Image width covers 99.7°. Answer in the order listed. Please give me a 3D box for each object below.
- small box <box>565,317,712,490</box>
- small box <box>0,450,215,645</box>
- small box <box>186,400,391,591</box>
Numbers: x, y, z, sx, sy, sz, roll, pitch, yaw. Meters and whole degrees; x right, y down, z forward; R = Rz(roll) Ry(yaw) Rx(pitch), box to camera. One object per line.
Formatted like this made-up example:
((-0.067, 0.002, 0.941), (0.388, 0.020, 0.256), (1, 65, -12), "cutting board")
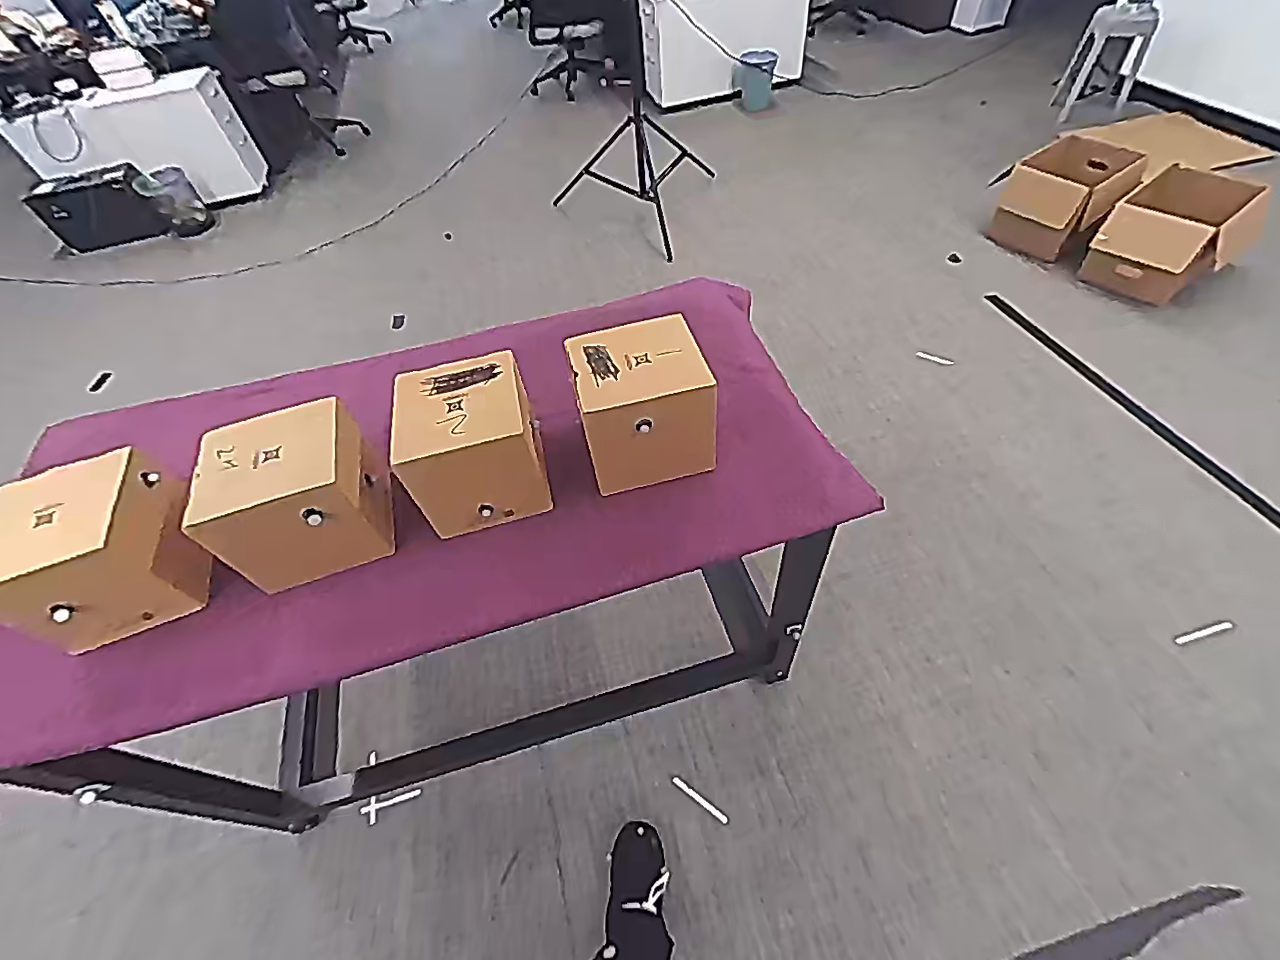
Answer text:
((0.001, -0.107, 0.789), (0.179, 0.176, 0.168), (-13, 50, -5), "small box")
((-0.704, 0.097, 0.716), (0.168, 0.176, 0.179), (-21, 52, -10), "small box")
((-0.459, 0.023, 0.742), (0.179, 0.176, 0.168), (-19, 51, -8), "small box")
